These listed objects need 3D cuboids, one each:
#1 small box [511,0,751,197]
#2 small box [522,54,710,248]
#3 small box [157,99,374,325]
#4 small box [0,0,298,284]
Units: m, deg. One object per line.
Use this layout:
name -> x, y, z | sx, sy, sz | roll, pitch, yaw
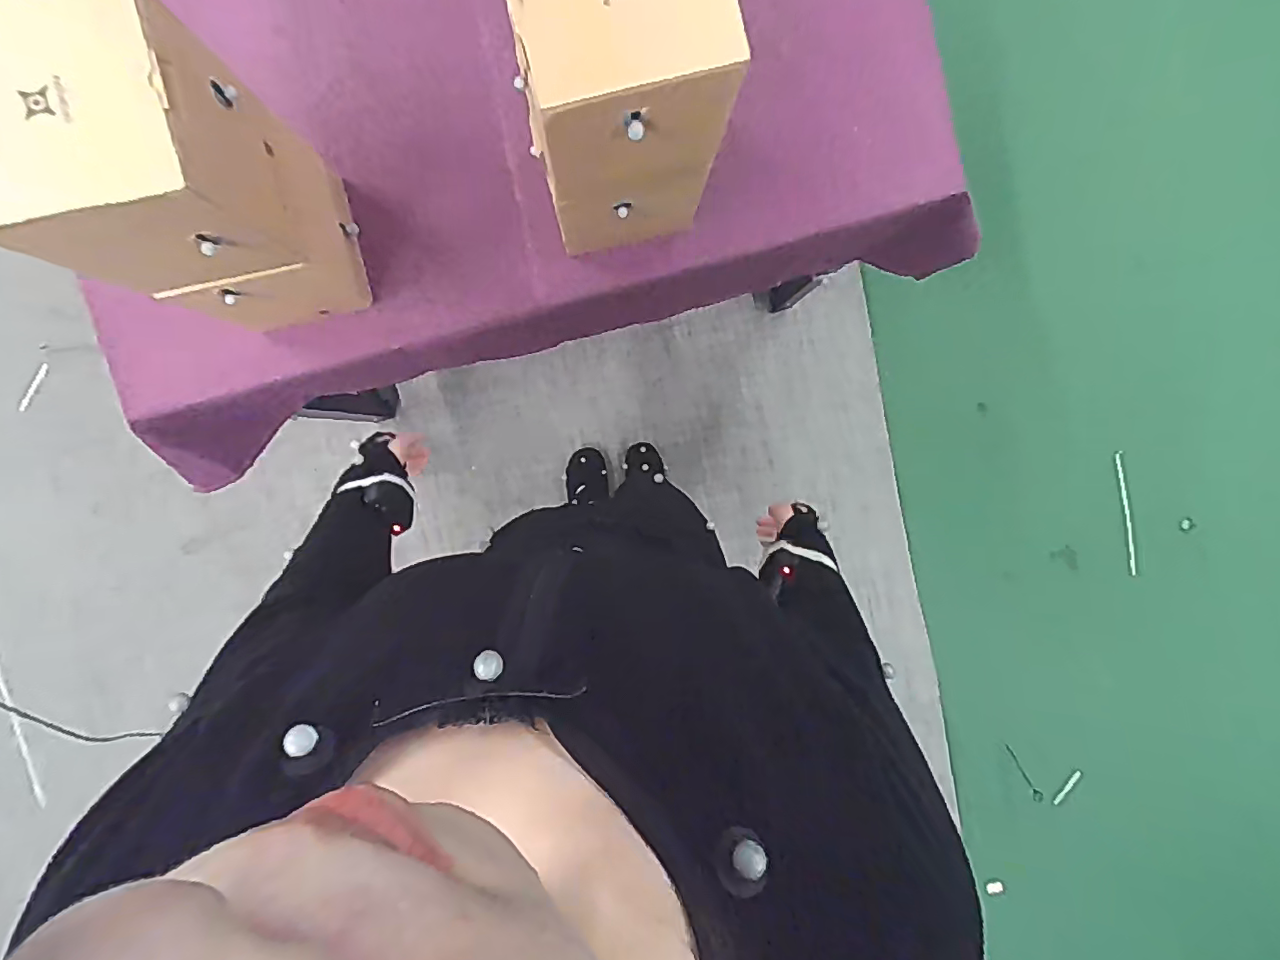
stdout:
small box -> -0.017, -0.393, 0.499 | 0.179, 0.176, 0.168 | -14, 95, -1
small box -> -0.027, -0.405, 0.661 | 0.179, 0.176, 0.168 | -14, 95, -1
small box -> -0.452, -0.305, 0.649 | 0.168, 0.176, 0.179 | -13, 94, -1
small box -> -0.444, -0.293, 0.486 | 0.179, 0.176, 0.168 | -12, 94, -1
